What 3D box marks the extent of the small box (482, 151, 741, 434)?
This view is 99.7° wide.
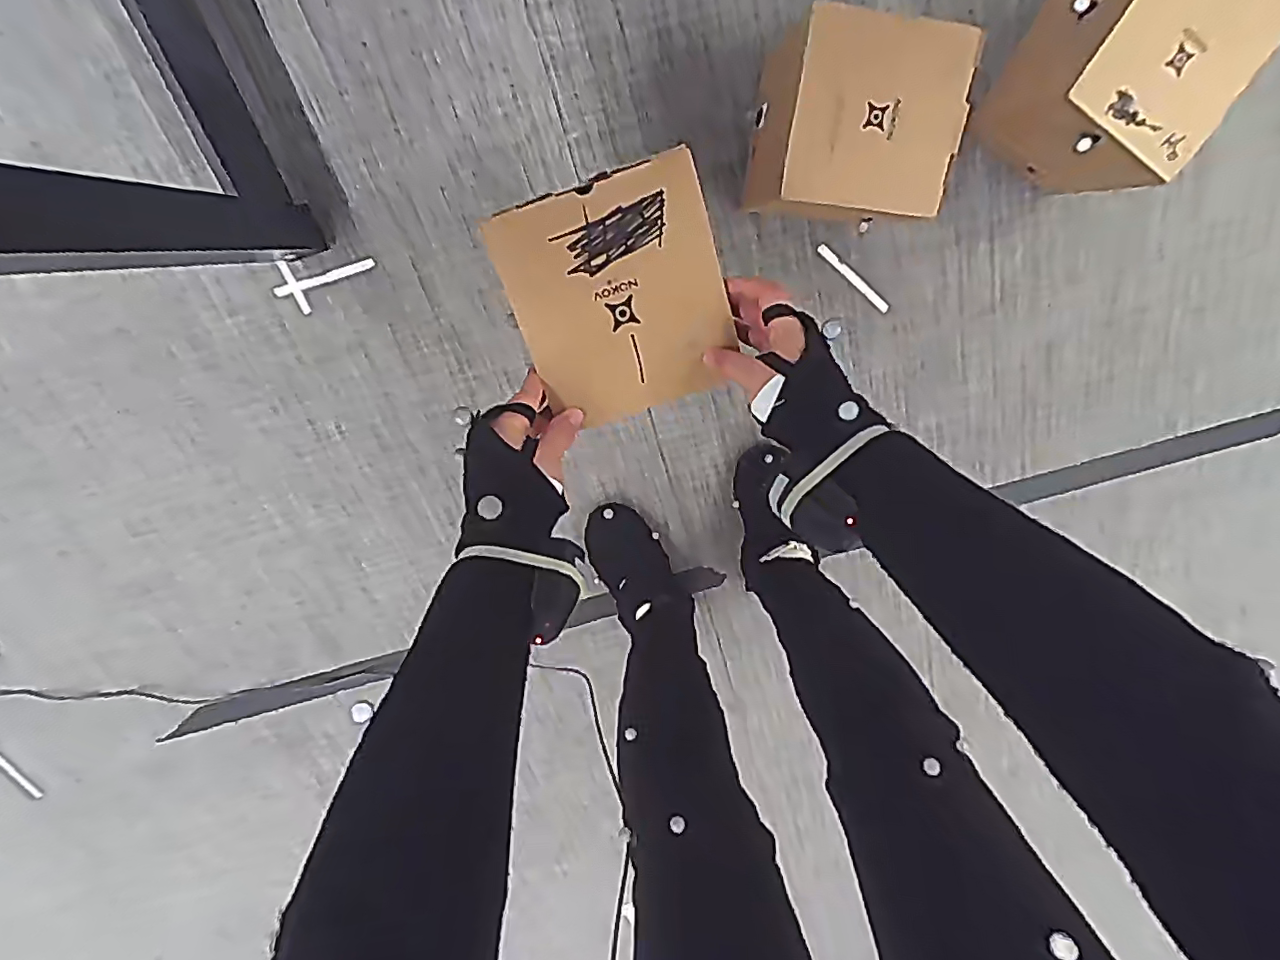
[{"bbox_3d":[-0.024,-0.166,0.499,0.168,0.176,0.179,-18,112,2],"label":"small box"}]

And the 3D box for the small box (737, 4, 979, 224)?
[{"bbox_3d":[0.223,-0.387,0.606,0.179,0.176,0.168,3,112,-6],"label":"small box"}]

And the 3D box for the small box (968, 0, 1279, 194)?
[{"bbox_3d":[0.520,-0.450,0.603,0.168,0.176,0.179,24,109,-14],"label":"small box"}]
